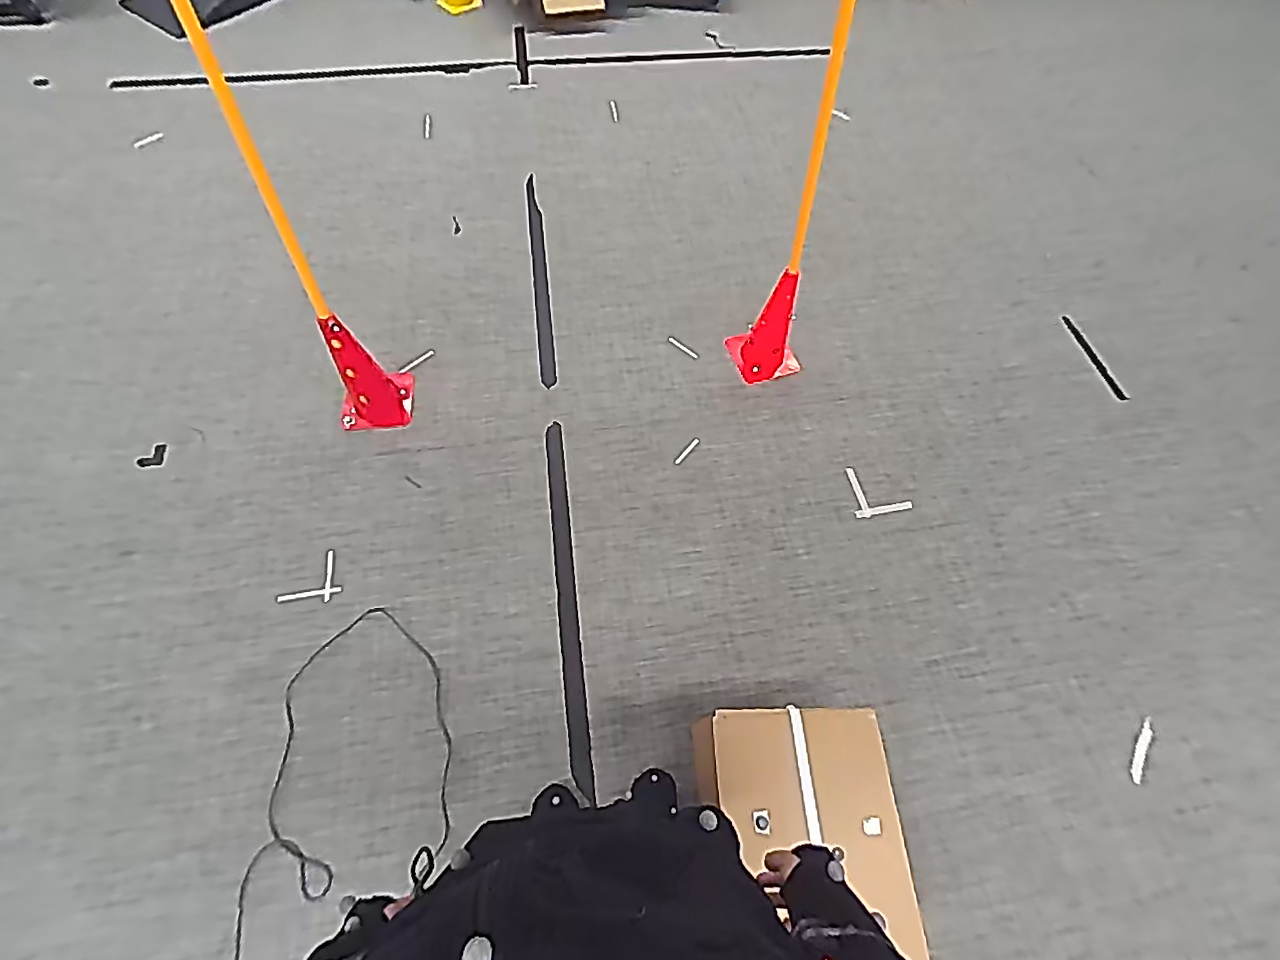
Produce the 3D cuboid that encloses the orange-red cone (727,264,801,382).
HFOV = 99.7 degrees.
[{"bbox_3d":[0.409,-0.489,1.612,0.199,0.360,0.198,-14,65,-11],"label":"orange-red cone"}]
